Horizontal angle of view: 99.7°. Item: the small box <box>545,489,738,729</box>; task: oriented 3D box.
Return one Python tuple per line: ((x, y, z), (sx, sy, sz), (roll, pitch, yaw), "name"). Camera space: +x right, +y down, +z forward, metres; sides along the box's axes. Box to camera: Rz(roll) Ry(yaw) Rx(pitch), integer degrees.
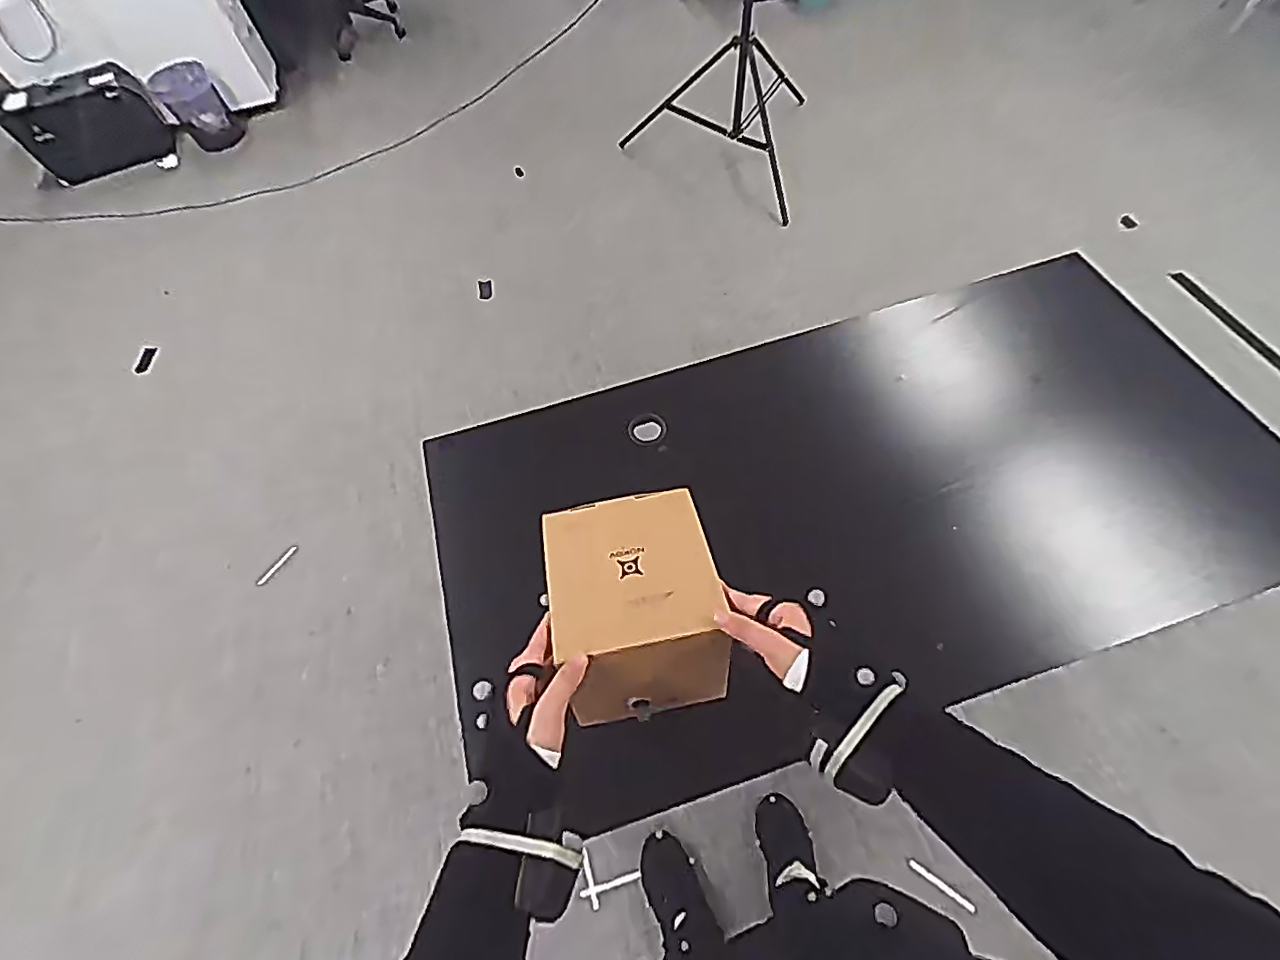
((-0.002, 0.139, 0.586), (0.168, 0.176, 0.179), (-12, 48, -4), "small box")
